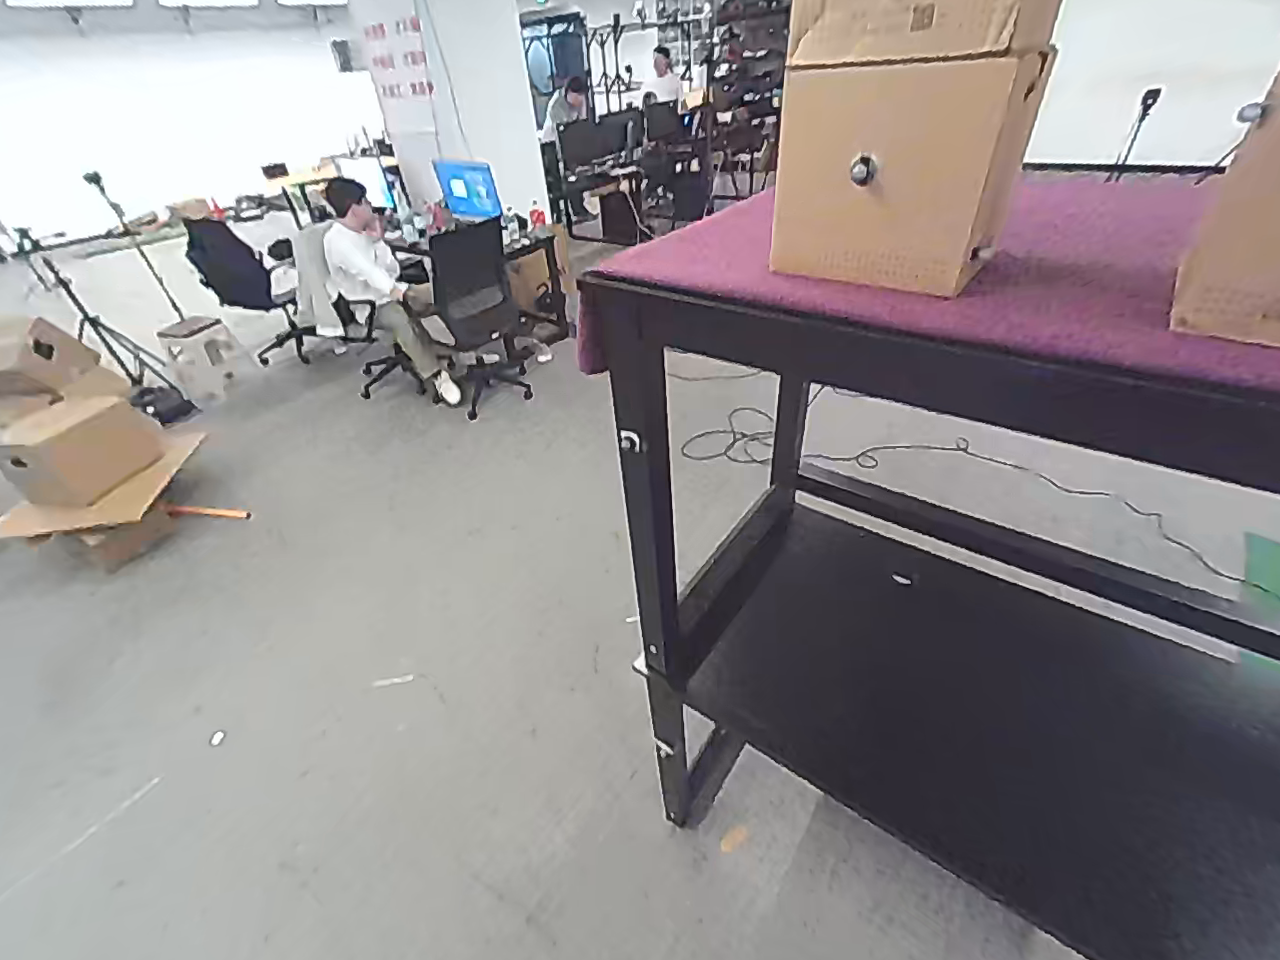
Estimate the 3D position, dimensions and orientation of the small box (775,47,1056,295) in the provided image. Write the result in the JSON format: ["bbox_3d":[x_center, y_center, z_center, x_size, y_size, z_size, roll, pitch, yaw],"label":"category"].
[{"bbox_3d":[0.242,-0.284,0.502,0.179,0.176,0.168,21,44,32],"label":"small box"}]

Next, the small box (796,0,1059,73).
[{"bbox_3d":[0.232,-0.419,0.413,0.168,0.176,0.179,22,45,32],"label":"small box"}]

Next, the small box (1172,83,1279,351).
[{"bbox_3d":[0.484,-0.182,0.340,0.168,0.176,0.179,23,46,34],"label":"small box"}]
